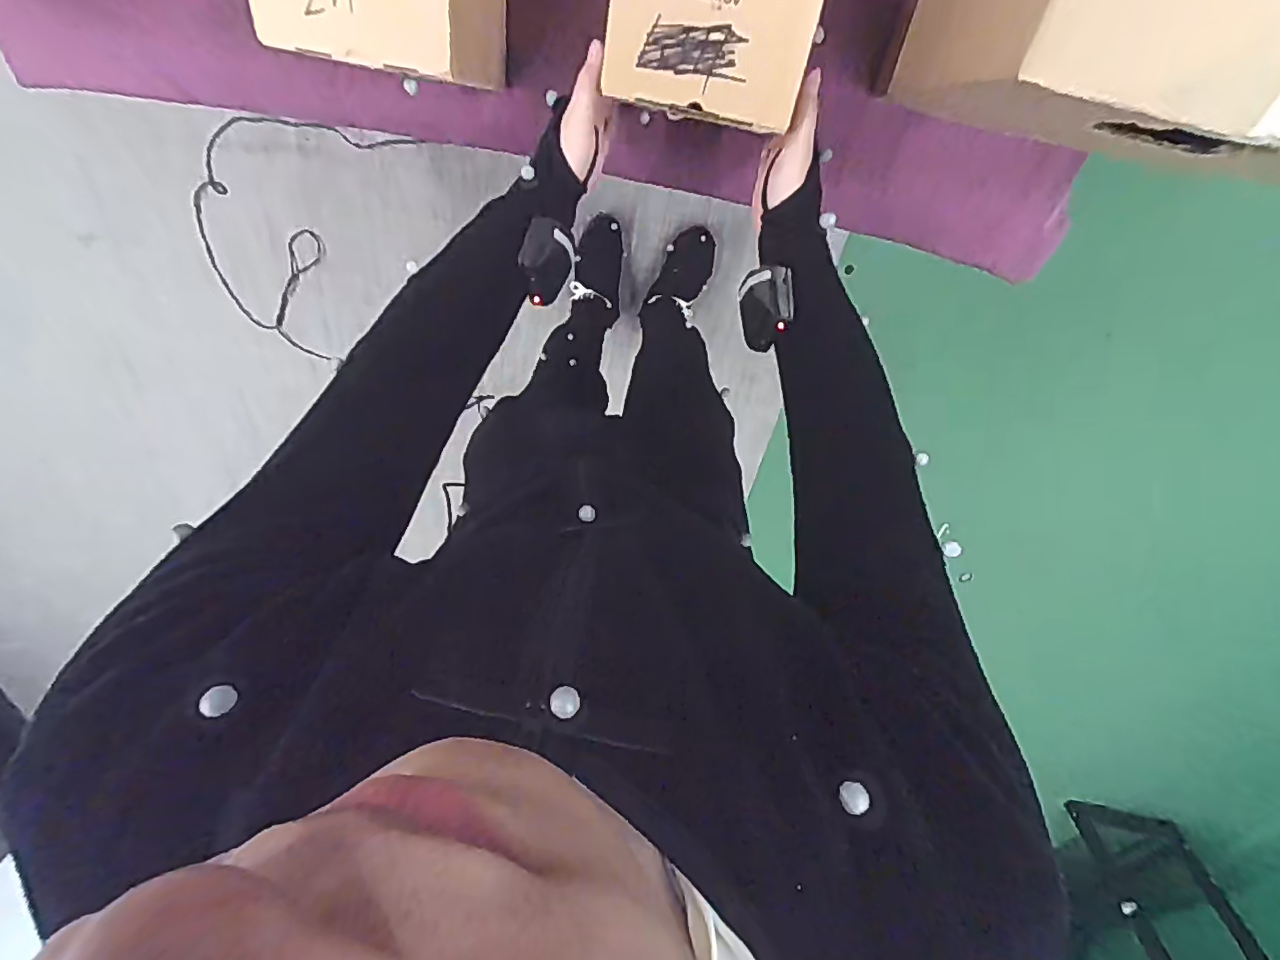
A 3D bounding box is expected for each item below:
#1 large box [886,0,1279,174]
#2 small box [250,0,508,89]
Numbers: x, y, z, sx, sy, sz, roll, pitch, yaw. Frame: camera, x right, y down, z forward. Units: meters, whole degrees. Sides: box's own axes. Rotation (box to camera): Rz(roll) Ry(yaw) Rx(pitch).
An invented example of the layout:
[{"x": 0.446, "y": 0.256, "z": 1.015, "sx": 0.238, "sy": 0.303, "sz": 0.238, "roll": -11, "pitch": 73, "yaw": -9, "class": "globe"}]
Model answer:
[{"x": 0.429, "y": -0.457, "z": 0.348, "sx": 0.320, "sy": 0.320, "sz": 0.408, "roll": 12, "pitch": 125, "yaw": -2, "class": "large box"}, {"x": -0.216, "y": -0.464, "z": 0.469, "sx": 0.168, "sy": 0.176, "sz": 0.179, "roll": 9, "pitch": 123, "yaw": -2, "class": "small box"}]
